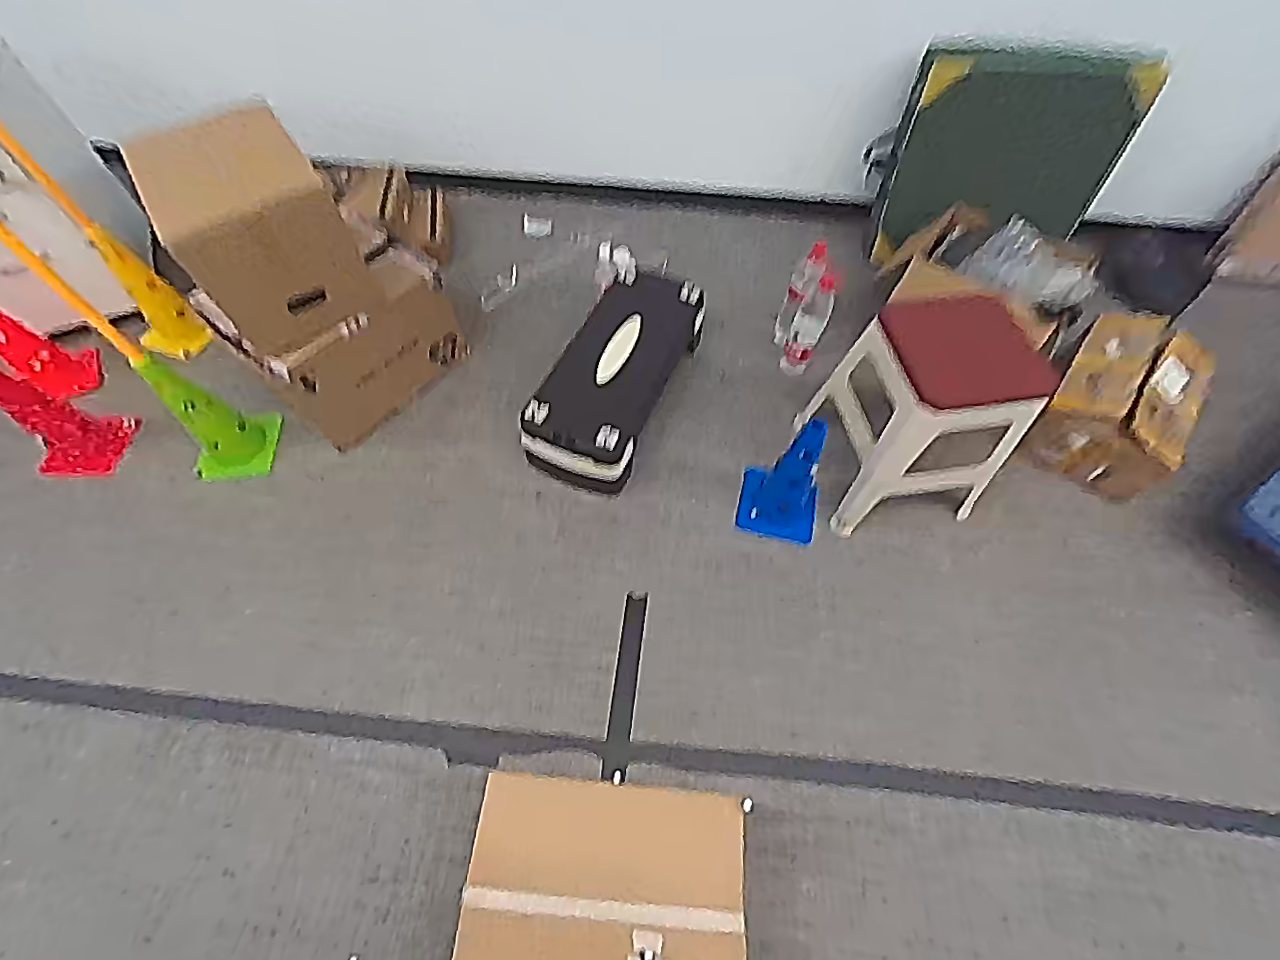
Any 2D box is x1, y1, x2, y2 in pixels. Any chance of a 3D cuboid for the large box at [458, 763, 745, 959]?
[{"bbox_3d":[-0.054,0.673,0.908,0.408,0.320,0.320,5,61,1],"label":"large box"}]
